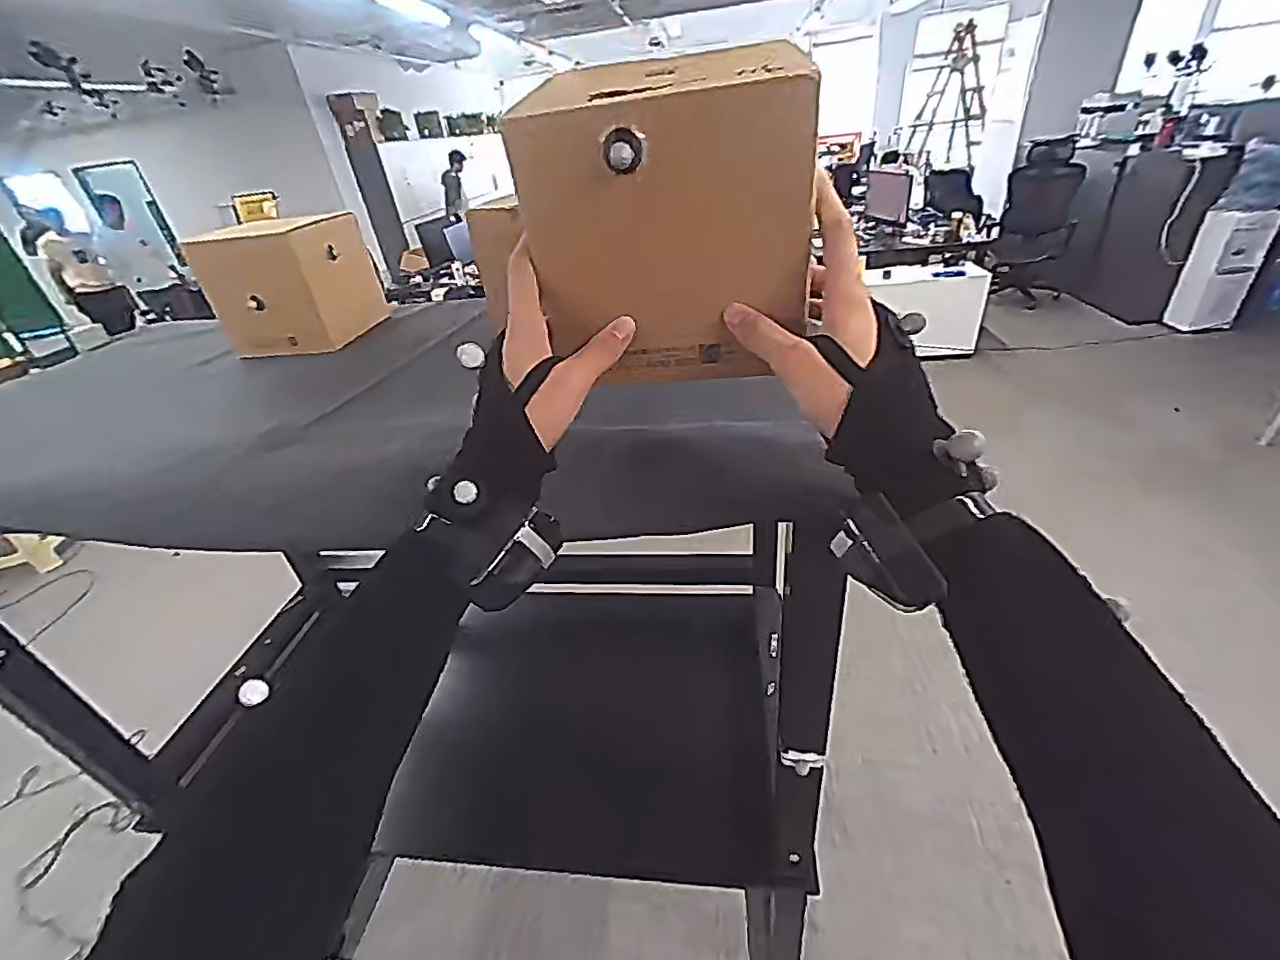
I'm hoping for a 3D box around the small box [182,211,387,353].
[{"bbox_3d":[-0.522,-0.300,0.830,0.168,0.176,0.179,-1,34,8],"label":"small box"}]

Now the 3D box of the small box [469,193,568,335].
[{"bbox_3d":[-0.113,-0.312,0.775,0.168,0.176,0.179,3,34,13],"label":"small box"}]

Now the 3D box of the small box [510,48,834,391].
[{"bbox_3d":[0.030,-0.180,0.379,0.168,0.176,0.179,-2,42,9],"label":"small box"}]
